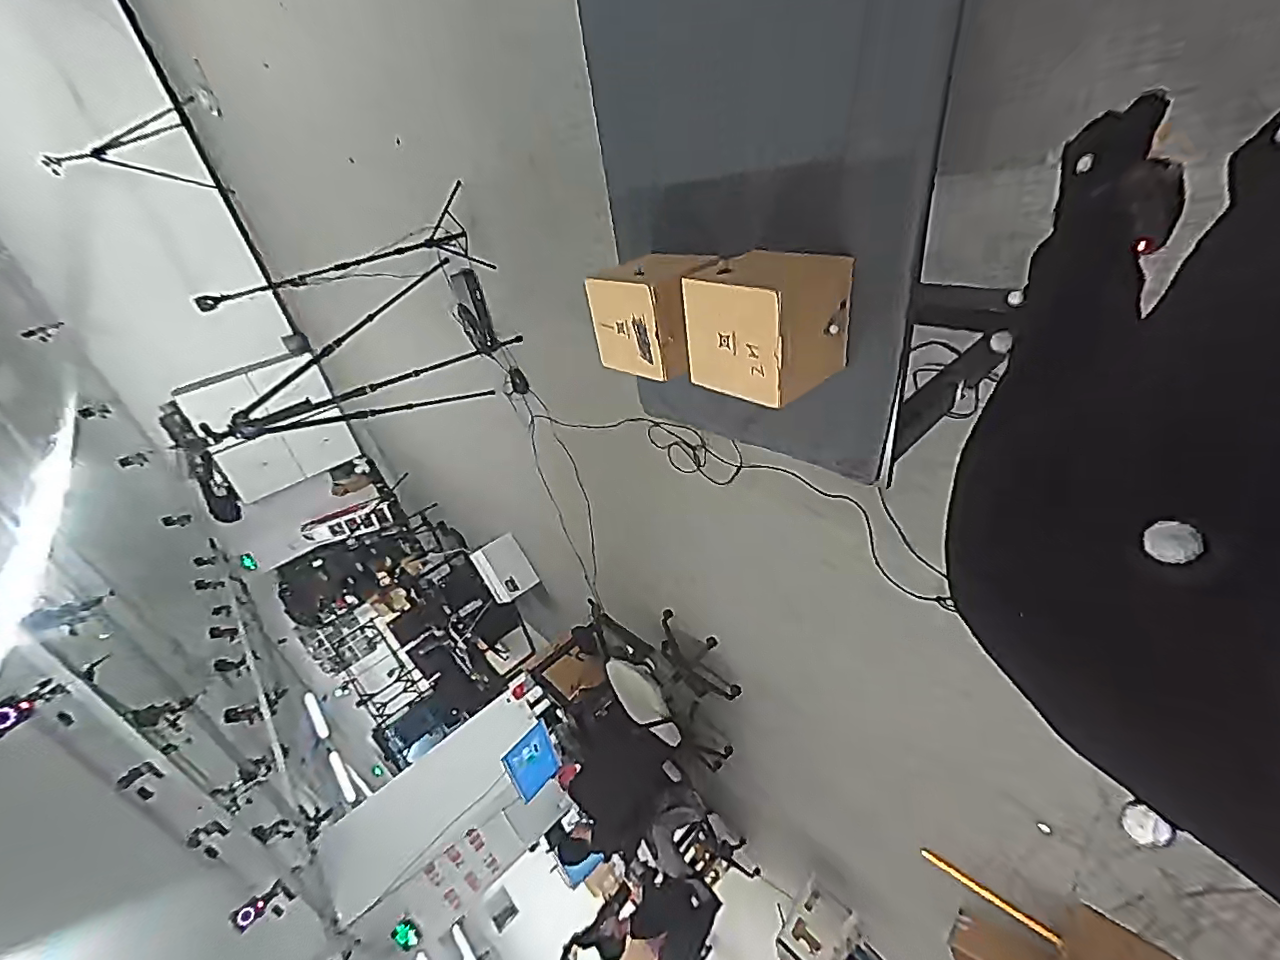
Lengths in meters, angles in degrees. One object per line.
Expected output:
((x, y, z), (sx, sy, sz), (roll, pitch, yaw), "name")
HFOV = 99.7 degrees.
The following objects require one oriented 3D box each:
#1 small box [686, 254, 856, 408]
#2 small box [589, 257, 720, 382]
((0.194, -0.232, 0.812), (0.179, 0.176, 0.168), (27, 138, 43), "small box")
((0.038, -0.297, 0.978), (0.179, 0.176, 0.168), (25, 137, 43), "small box")
